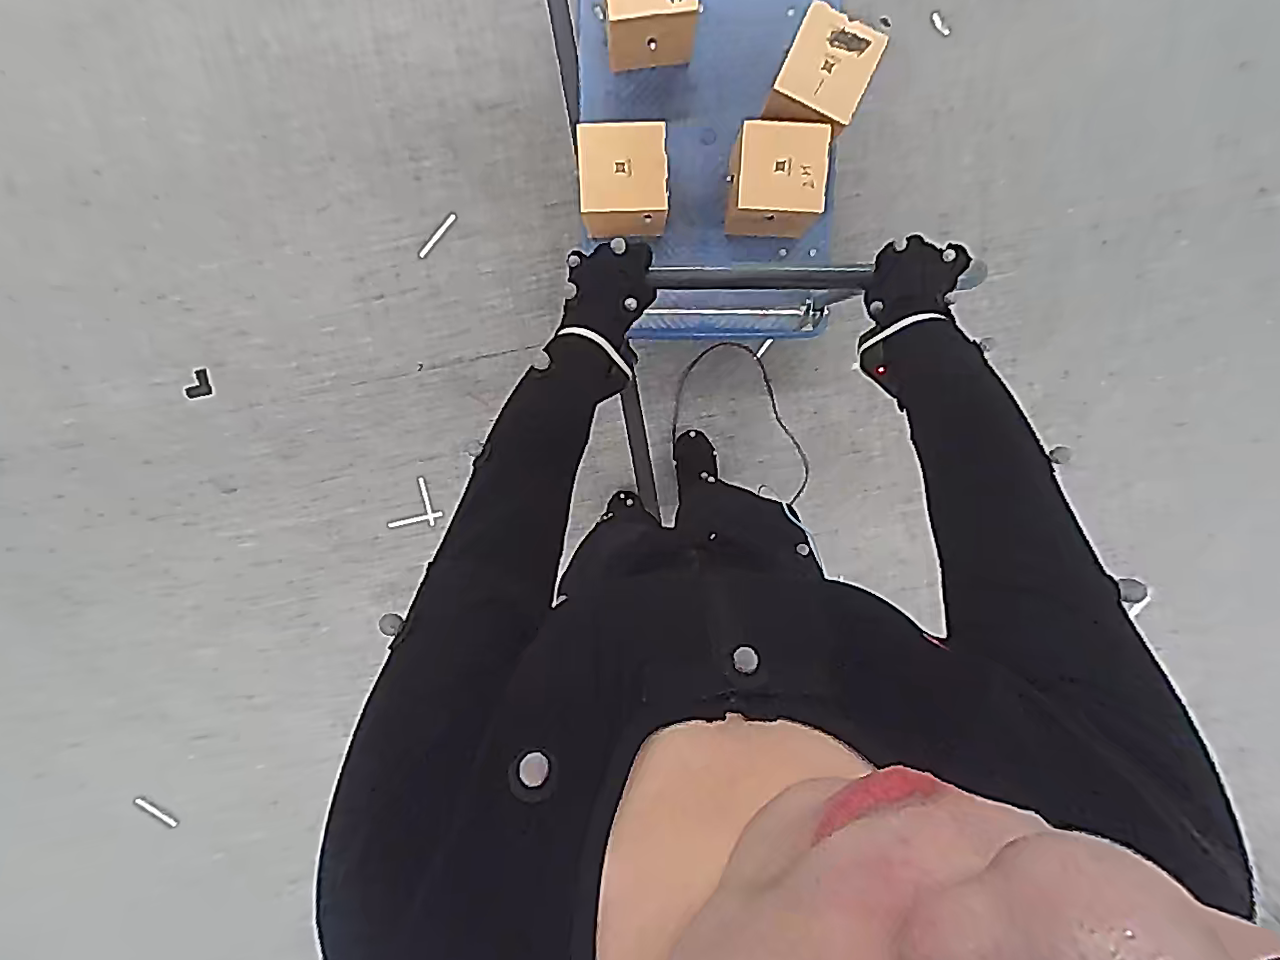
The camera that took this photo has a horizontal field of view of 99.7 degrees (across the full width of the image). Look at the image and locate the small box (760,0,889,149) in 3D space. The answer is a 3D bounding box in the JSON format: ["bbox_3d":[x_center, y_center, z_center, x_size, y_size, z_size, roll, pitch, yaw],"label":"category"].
[{"bbox_3d":[0.367,-0.808,1.114,0.168,0.176,0.179,25,98,-3],"label":"small box"}]

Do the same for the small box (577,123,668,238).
[{"bbox_3d":[-0.034,-0.622,1.140,0.179,0.176,0.168,-3,98,-1],"label":"small box"}]

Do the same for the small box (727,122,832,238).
[{"bbox_3d":[0.283,-0.623,1.140,0.179,0.176,0.168,3,99,0],"label":"small box"}]
